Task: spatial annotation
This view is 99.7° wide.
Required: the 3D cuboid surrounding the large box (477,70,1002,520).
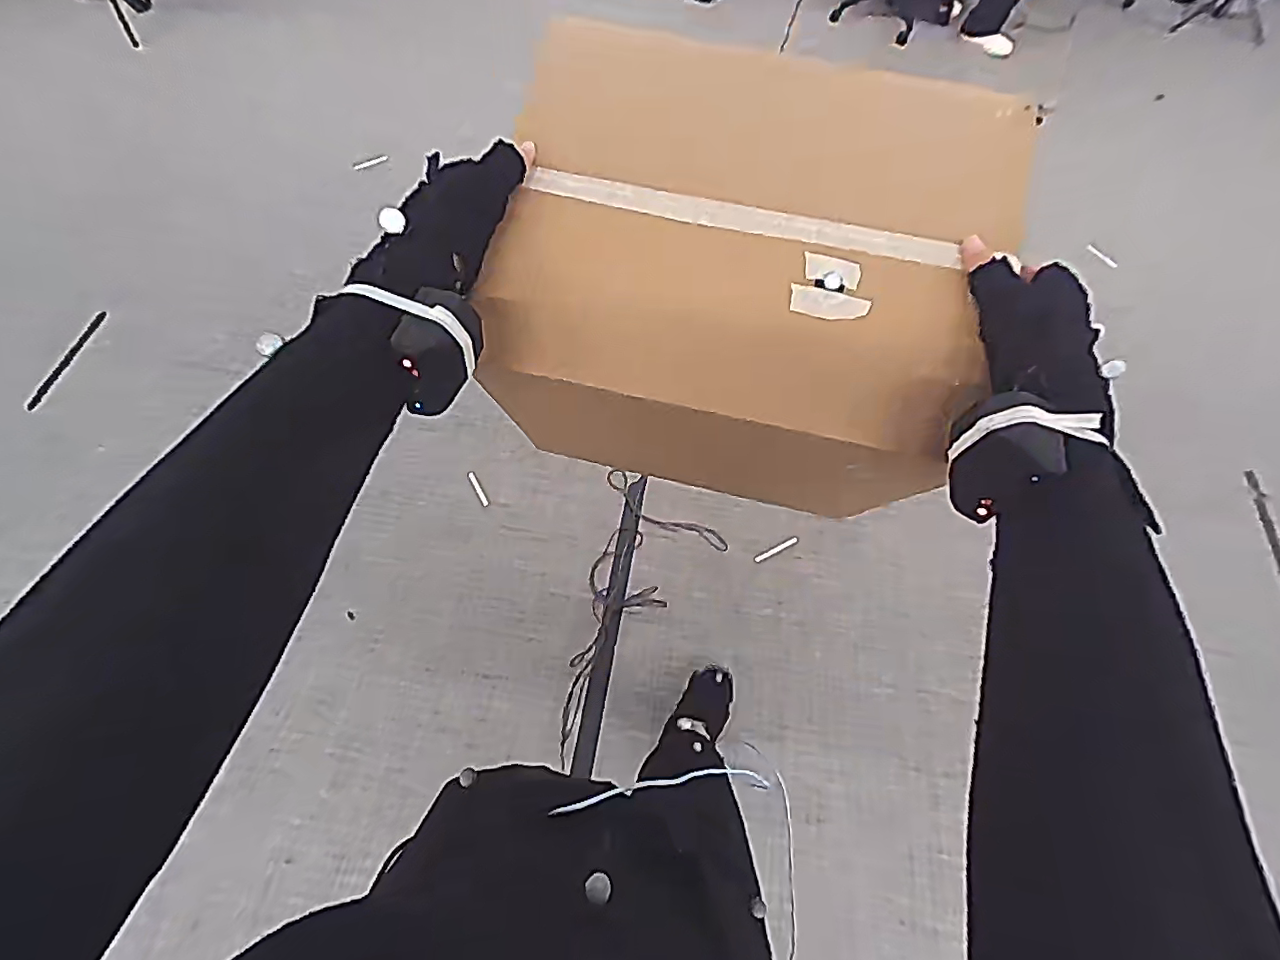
[{"bbox_3d":[0.090,-0.158,0.598,0.408,0.320,0.320,13,81,2],"label":"large box"}]
